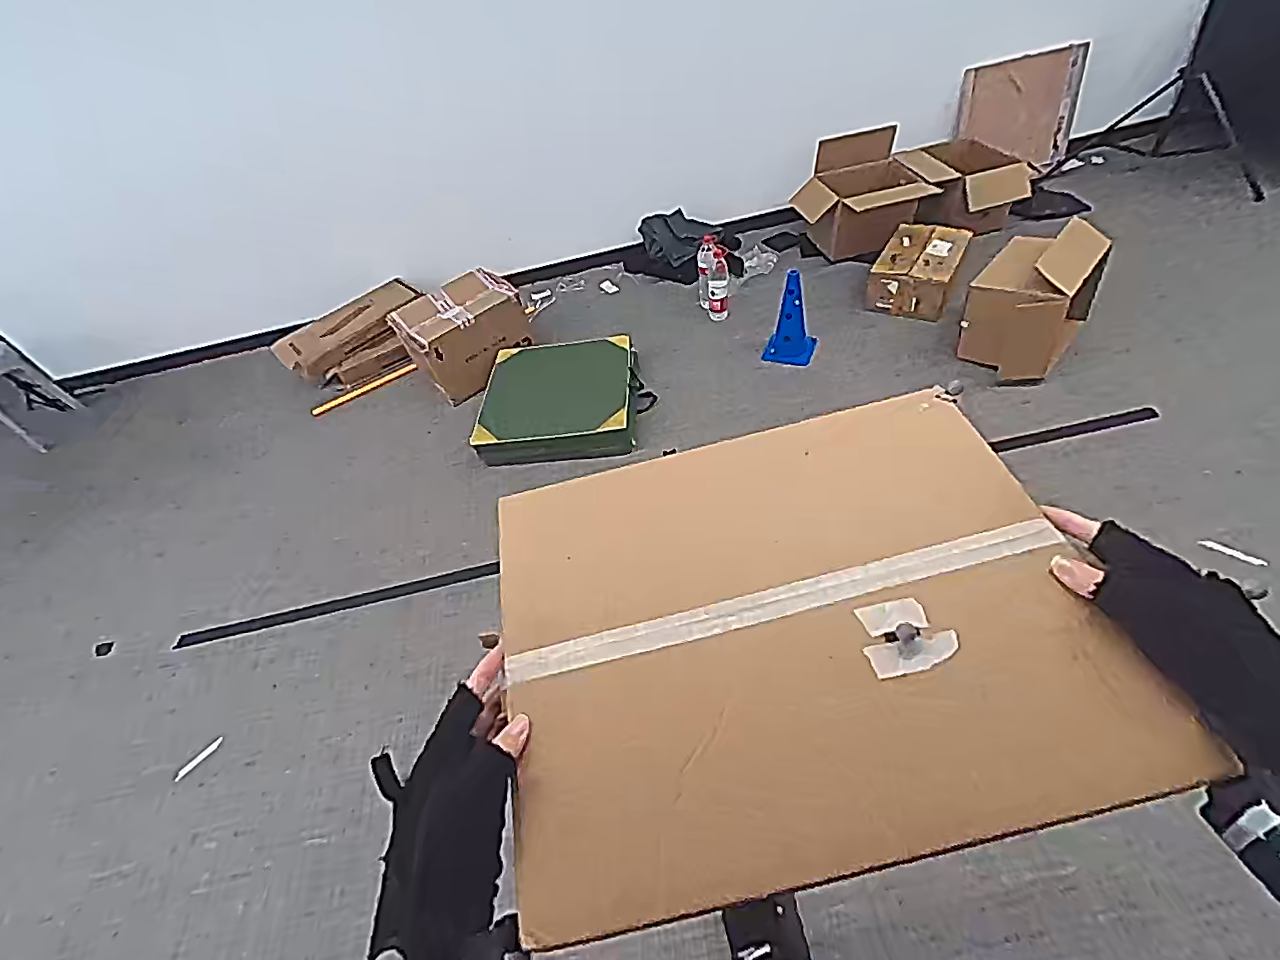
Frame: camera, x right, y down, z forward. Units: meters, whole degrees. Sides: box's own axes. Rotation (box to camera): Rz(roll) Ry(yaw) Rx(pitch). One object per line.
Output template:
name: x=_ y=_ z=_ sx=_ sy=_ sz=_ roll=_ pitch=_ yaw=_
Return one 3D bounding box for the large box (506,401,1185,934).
large box: x=0.120 y=0.181 z=0.520 sx=0.408 sy=0.320 sz=0.320 roll=-14 pitch=53 yaw=-1
